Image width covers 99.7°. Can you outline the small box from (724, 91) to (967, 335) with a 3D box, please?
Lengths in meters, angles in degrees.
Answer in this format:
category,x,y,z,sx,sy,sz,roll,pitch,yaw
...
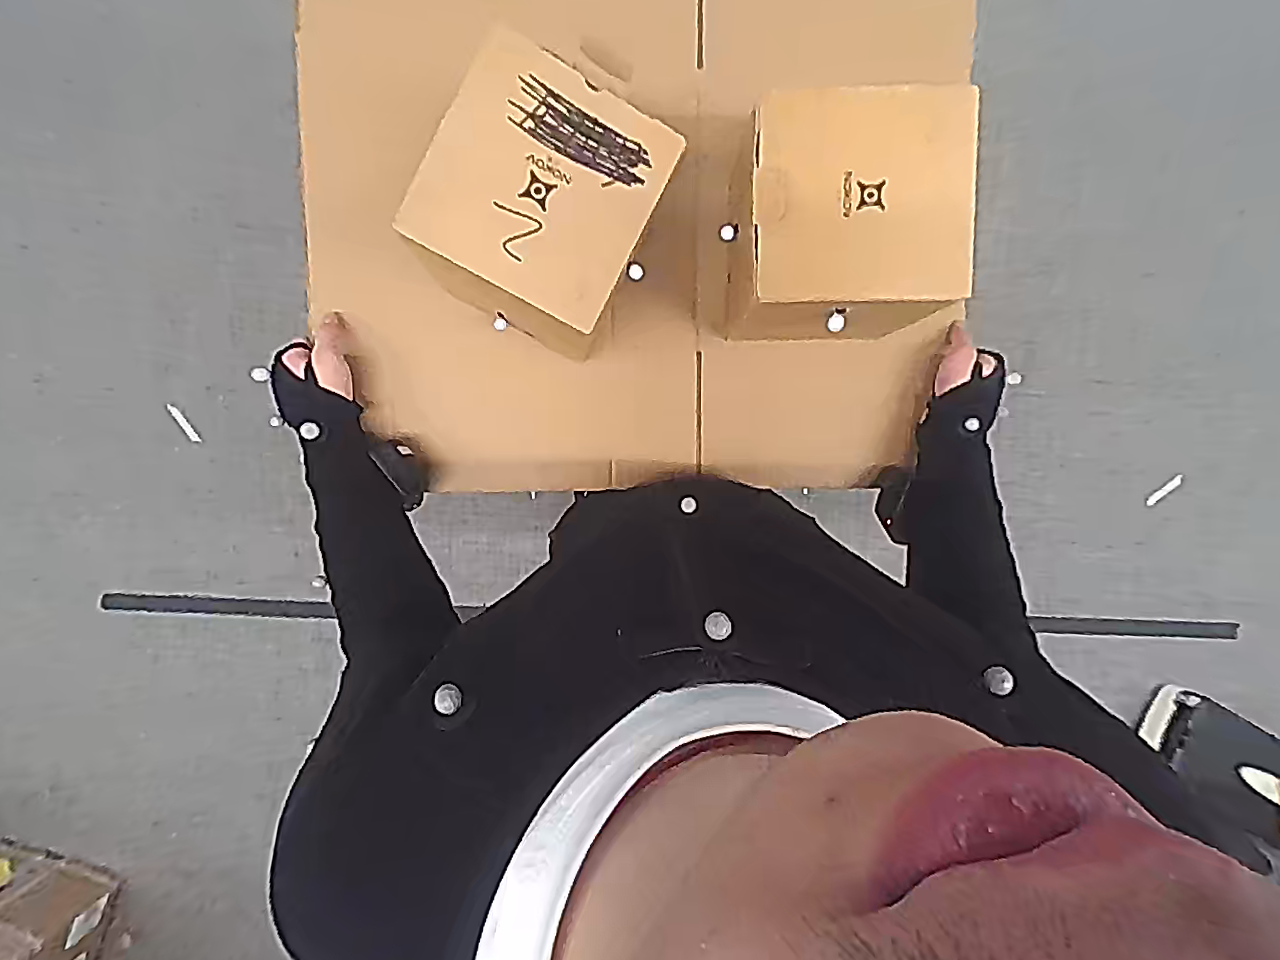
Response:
category,x,y,z,sx,sy,sz,roll,pitch,yaw
small box,0.181,-0.241,0.527,0.179,0.176,0.168,-1,94,2
